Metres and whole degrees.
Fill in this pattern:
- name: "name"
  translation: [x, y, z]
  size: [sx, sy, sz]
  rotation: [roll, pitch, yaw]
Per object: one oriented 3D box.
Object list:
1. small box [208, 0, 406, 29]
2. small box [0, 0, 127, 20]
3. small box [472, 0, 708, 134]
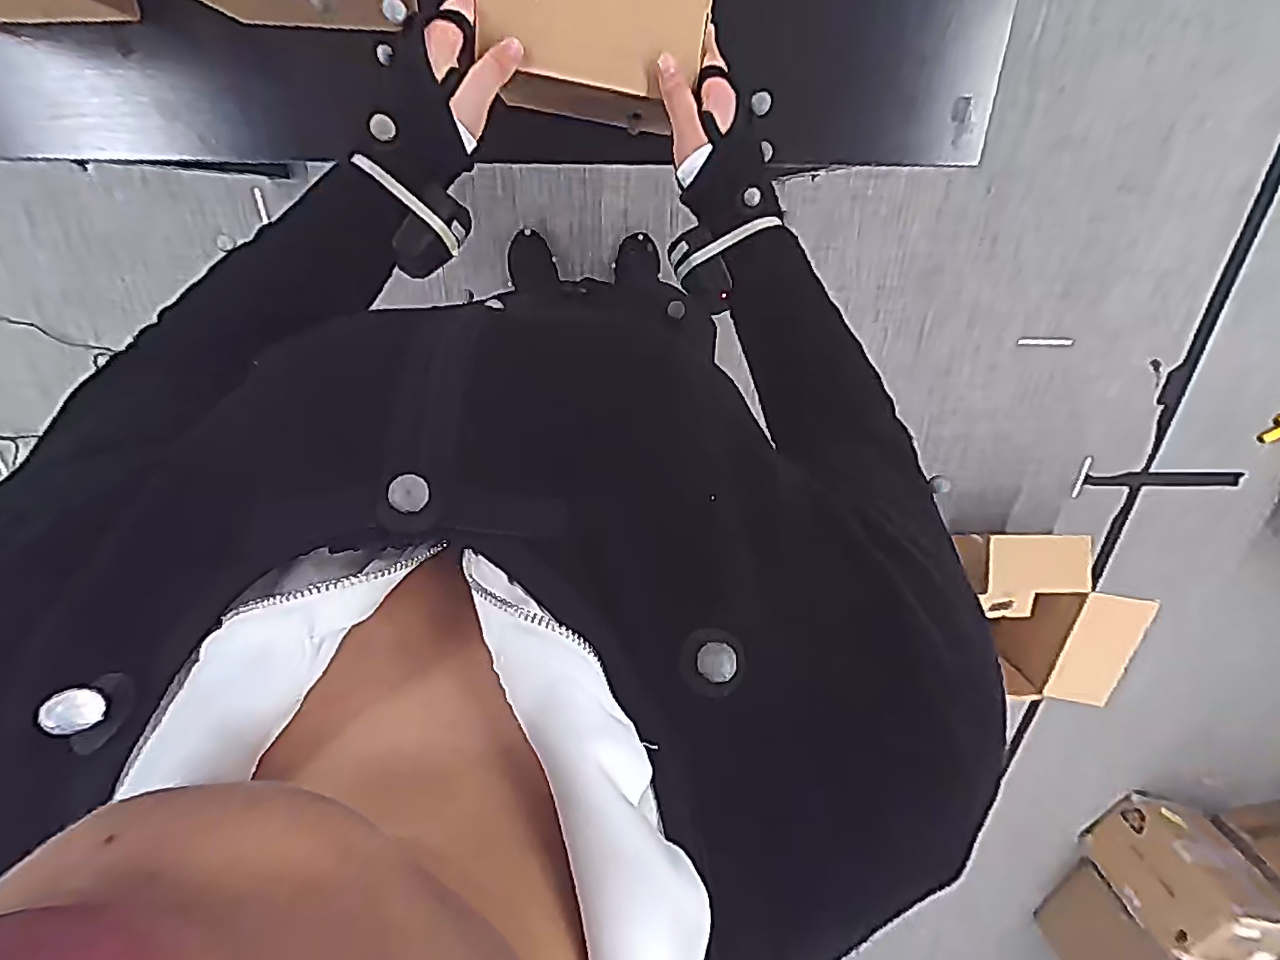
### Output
- name: "small box"
  translation: [-0.303, -0.492, 0.435]
  size: [0.179, 0.176, 0.168]
  rotation: [0, 116, -4]
- name: "small box"
  translation: [-0.575, -0.488, 0.421]
  size: [0.179, 0.176, 0.168]
  rotation: [-3, 116, -2]
- name: "small box"
  translation: [-0.038, -0.415, 0.465]
  size: [0.179, 0.176, 0.168]
  rotation: [6, 114, -6]
